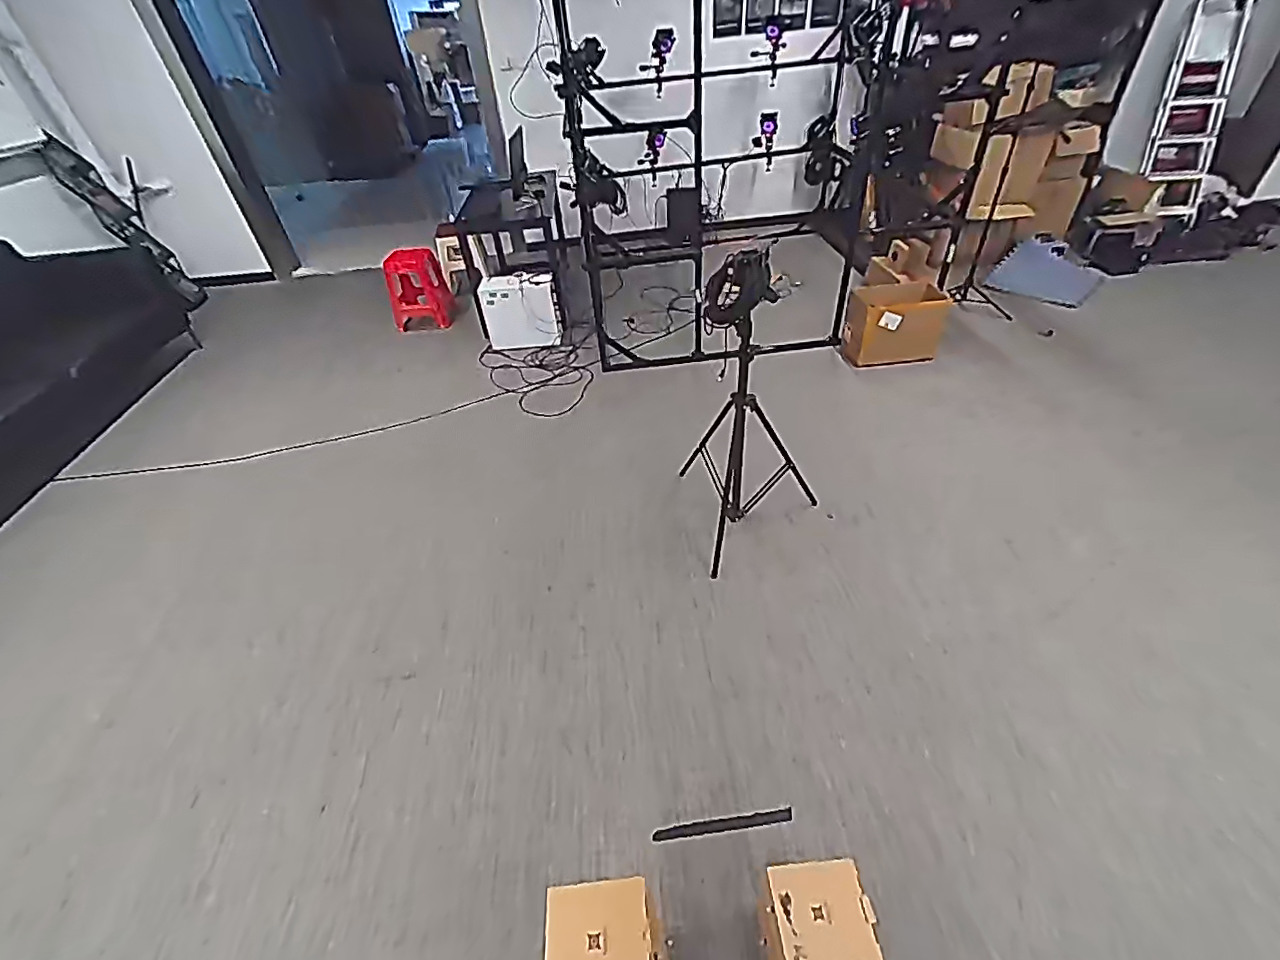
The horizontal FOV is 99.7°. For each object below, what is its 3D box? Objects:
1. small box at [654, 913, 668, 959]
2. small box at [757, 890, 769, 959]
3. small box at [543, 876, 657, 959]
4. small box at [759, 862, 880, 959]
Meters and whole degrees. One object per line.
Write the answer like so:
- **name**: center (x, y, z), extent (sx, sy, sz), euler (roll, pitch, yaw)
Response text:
- **small box**: center (-0.019, 1.066, 1.150), extent (0.168, 0.176, 0.179), euler (-11, 41, -5)
- **small box**: center (0.356, 1.004, 1.176), extent (0.179, 0.176, 0.168), euler (-6, 41, -1)
- **small box**: center (-0.065, 0.819, 0.941), extent (0.179, 0.176, 0.168), euler (-7, 41, 0)
- **small box**: center (0.344, 0.880, 1.069), extent (0.179, 0.176, 0.168), euler (-5, 40, 0)
